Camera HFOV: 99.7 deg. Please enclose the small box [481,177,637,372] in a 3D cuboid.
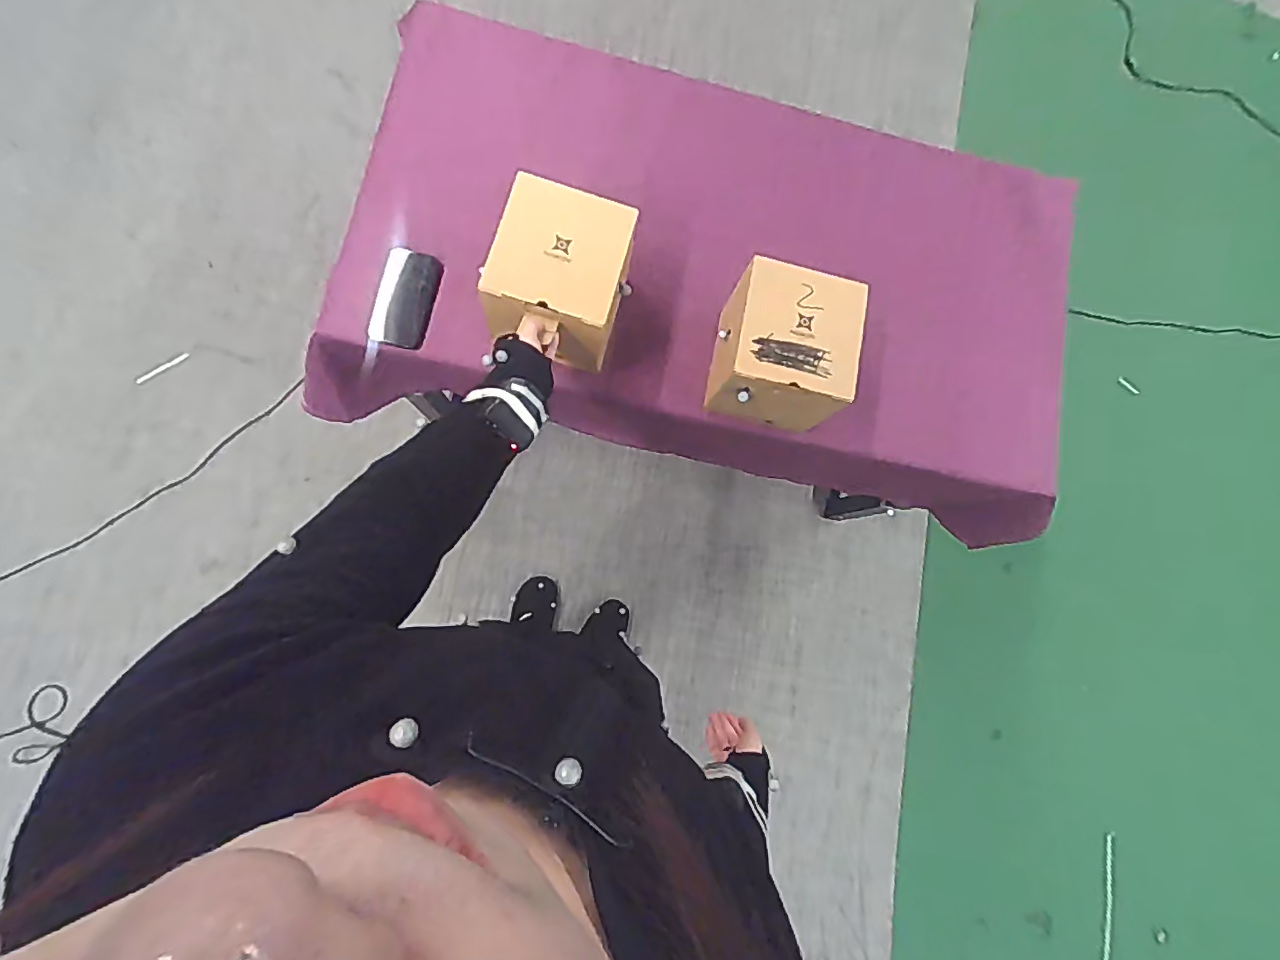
[{"bbox_3d":[-0.114,-0.282,0.778,0.168,0.176,0.179,16,80,-5],"label":"small box"}]
